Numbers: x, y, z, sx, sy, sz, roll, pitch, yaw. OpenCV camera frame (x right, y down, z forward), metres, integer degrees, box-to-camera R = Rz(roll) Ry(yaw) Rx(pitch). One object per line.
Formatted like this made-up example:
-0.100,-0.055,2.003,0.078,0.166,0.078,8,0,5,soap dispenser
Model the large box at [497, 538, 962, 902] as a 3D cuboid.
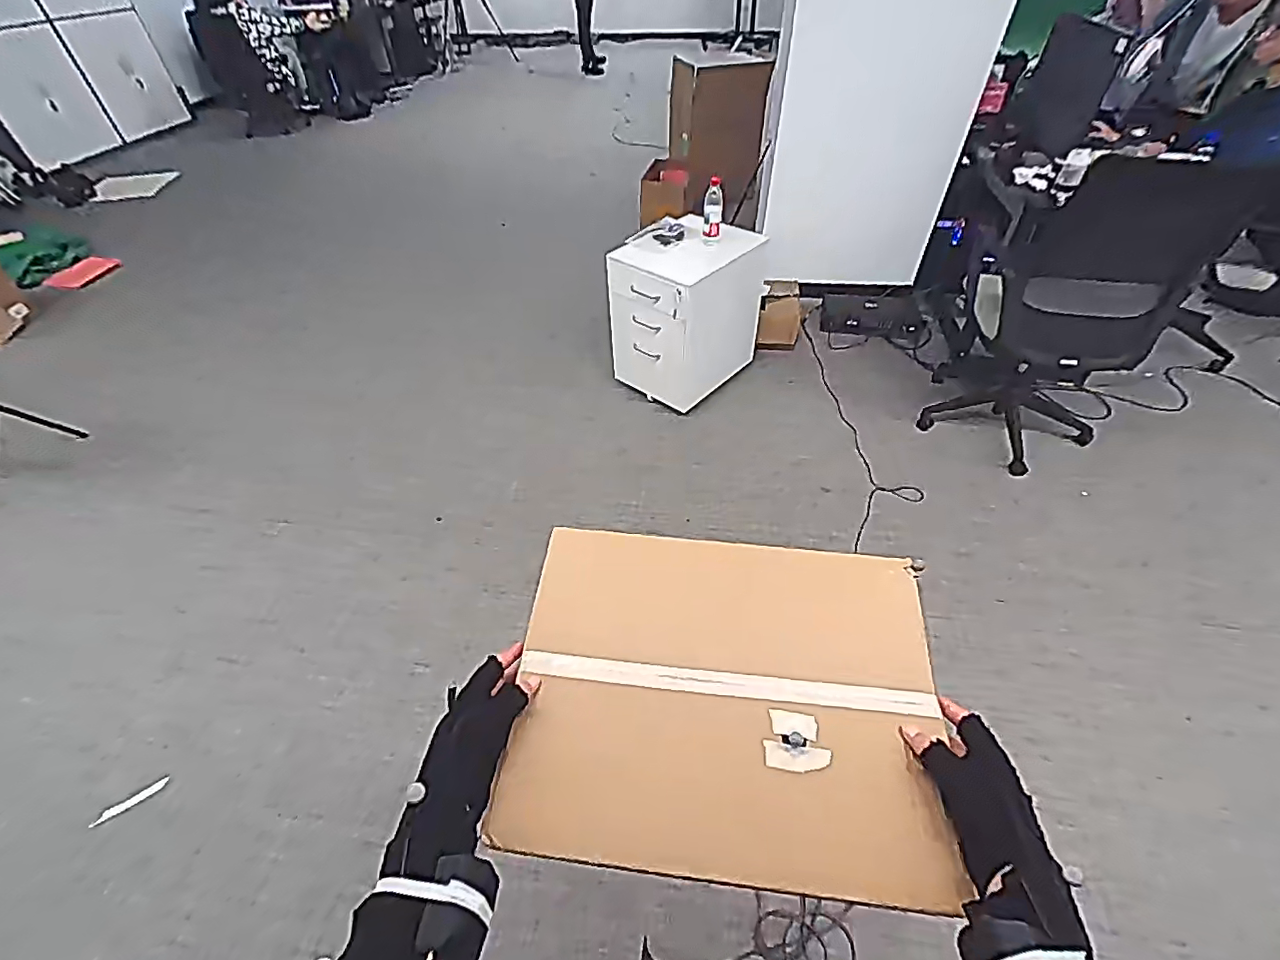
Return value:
0.086,0.292,0.663,0.408,0.320,0.320,5,56,5,large box
